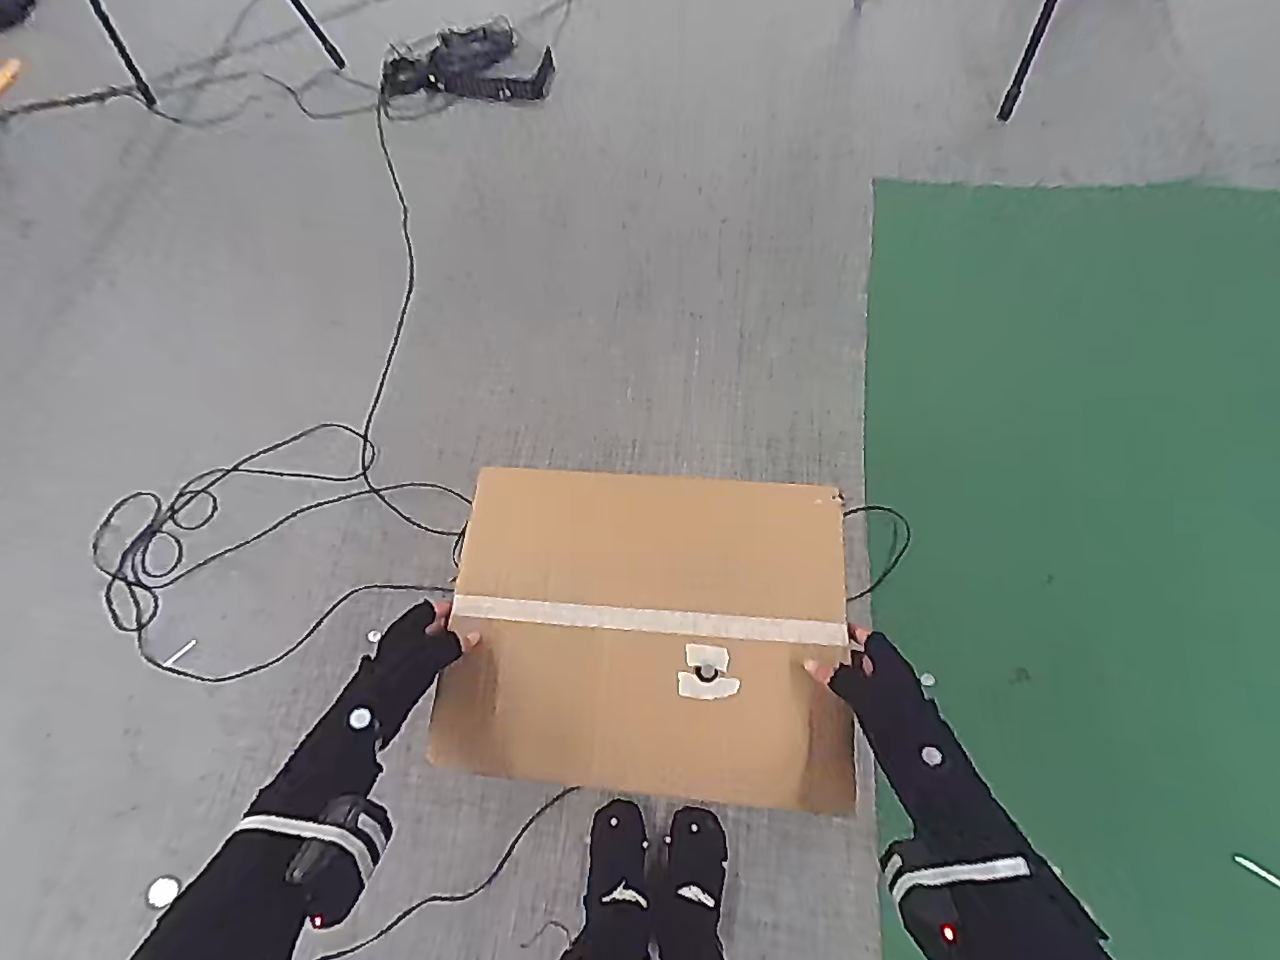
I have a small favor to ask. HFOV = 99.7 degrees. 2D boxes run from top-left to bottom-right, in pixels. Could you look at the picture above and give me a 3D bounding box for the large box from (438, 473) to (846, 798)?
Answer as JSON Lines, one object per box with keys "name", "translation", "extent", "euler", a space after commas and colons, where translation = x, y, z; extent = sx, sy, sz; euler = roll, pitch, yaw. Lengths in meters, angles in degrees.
{"name": "large box", "translation": [0.014, 0.195, 0.708], "extent": [0.408, 0.320, 0.320], "euler": [3, 71, 5]}
